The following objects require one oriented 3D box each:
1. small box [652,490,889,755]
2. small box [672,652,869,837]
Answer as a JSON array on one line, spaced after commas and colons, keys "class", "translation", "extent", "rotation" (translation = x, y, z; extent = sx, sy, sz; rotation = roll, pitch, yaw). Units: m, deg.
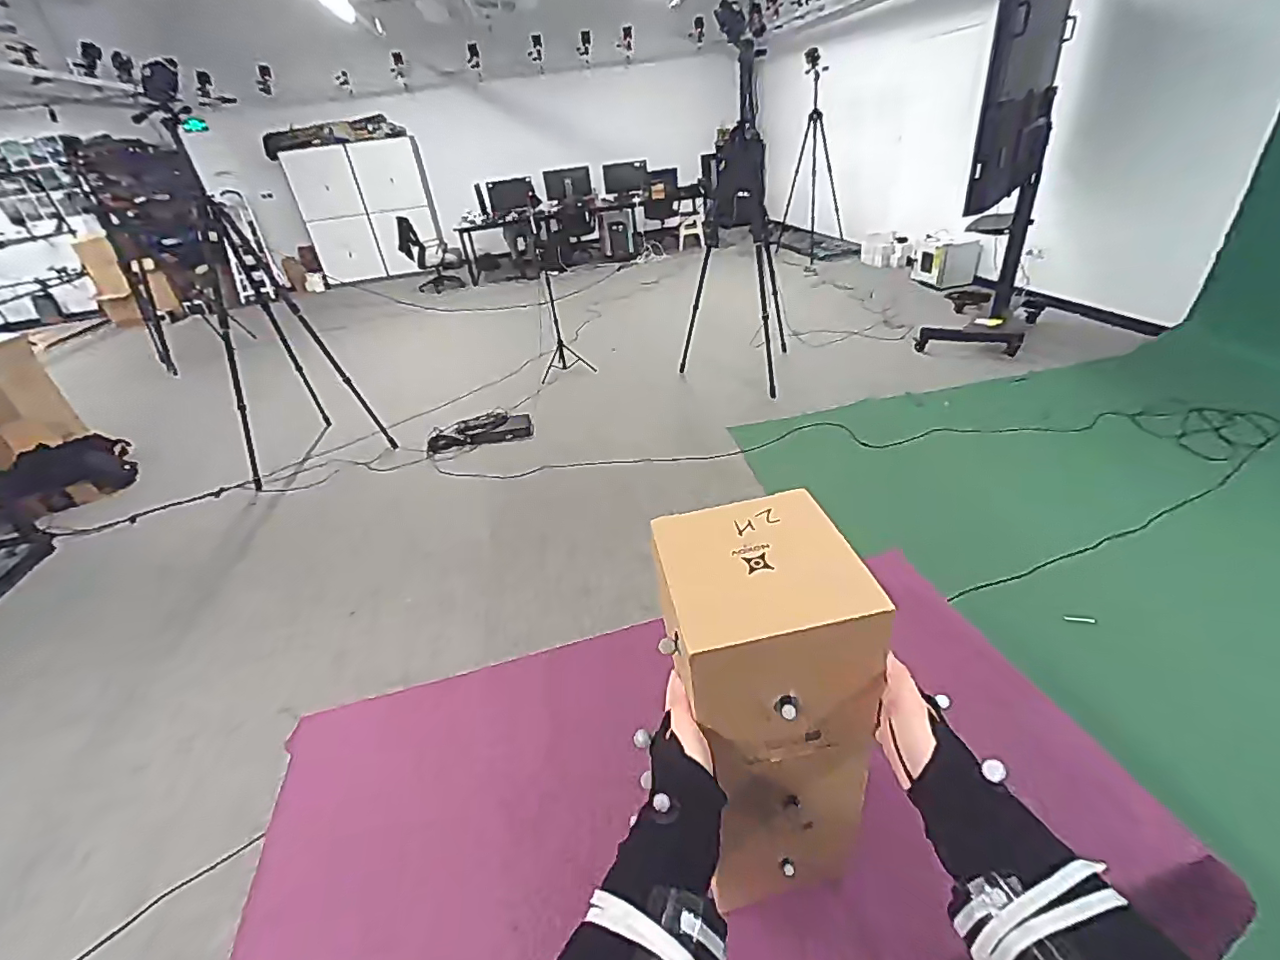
[{"class": "small box", "translation": [0.113, 0.138, 0.523], "extent": [0.168, 0.176, 0.179], "rotation": [-11, 33, -3]}, {"class": "small box", "translation": [0.136, 0.274, 0.615], "extent": [0.168, 0.176, 0.179], "rotation": [-10, 34, -3]}]
